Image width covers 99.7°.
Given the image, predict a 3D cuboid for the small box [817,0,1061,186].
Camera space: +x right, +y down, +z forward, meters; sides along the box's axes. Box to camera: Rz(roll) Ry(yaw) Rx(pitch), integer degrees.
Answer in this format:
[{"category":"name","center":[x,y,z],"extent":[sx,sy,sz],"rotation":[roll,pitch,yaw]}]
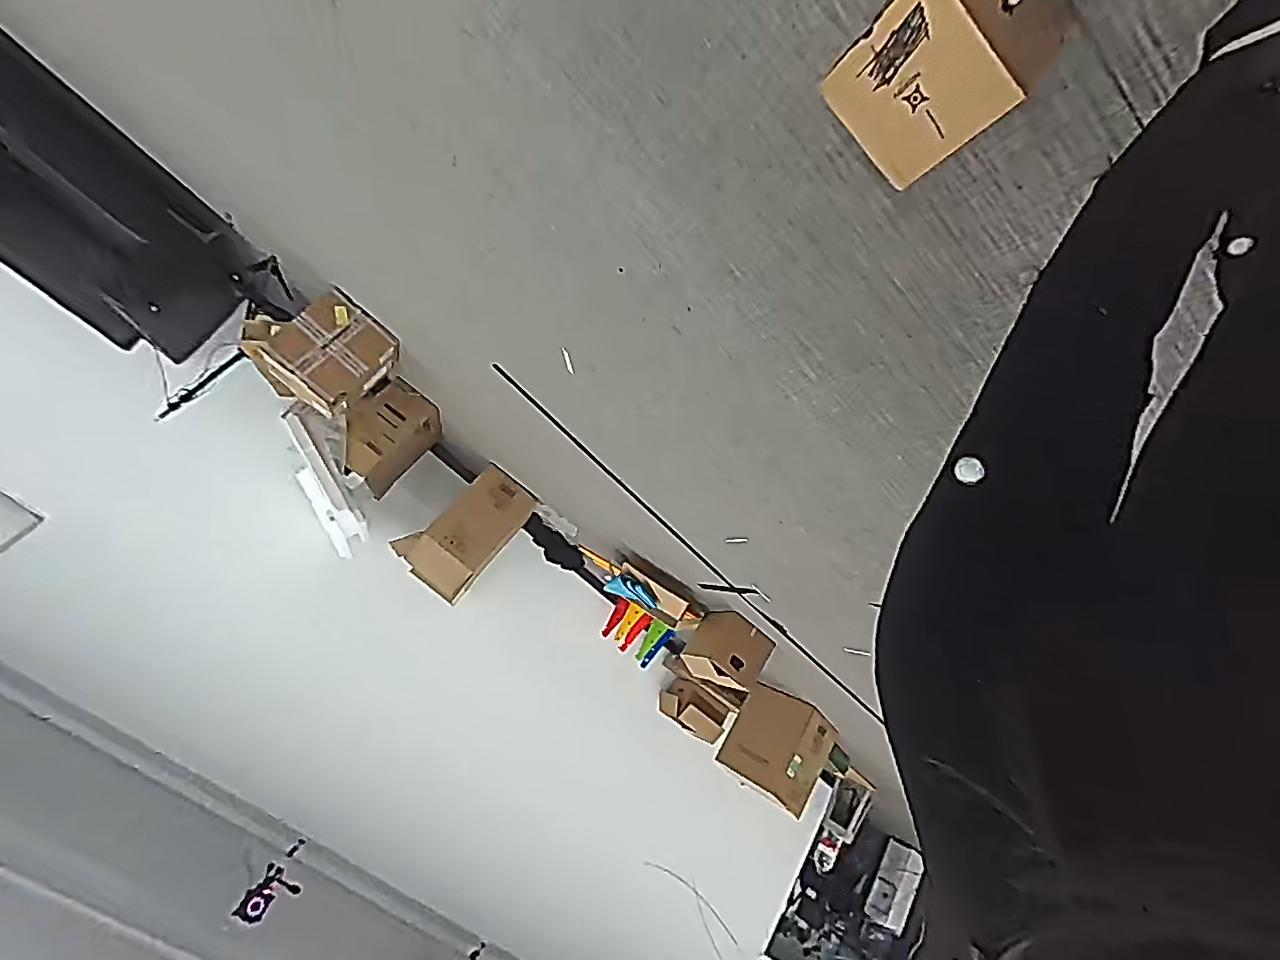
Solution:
[{"category":"small box","center":[0.357,-0.512,0.651],"extent":[0.179,0.176,0.168],"rotation":[41,157,-13]}]
